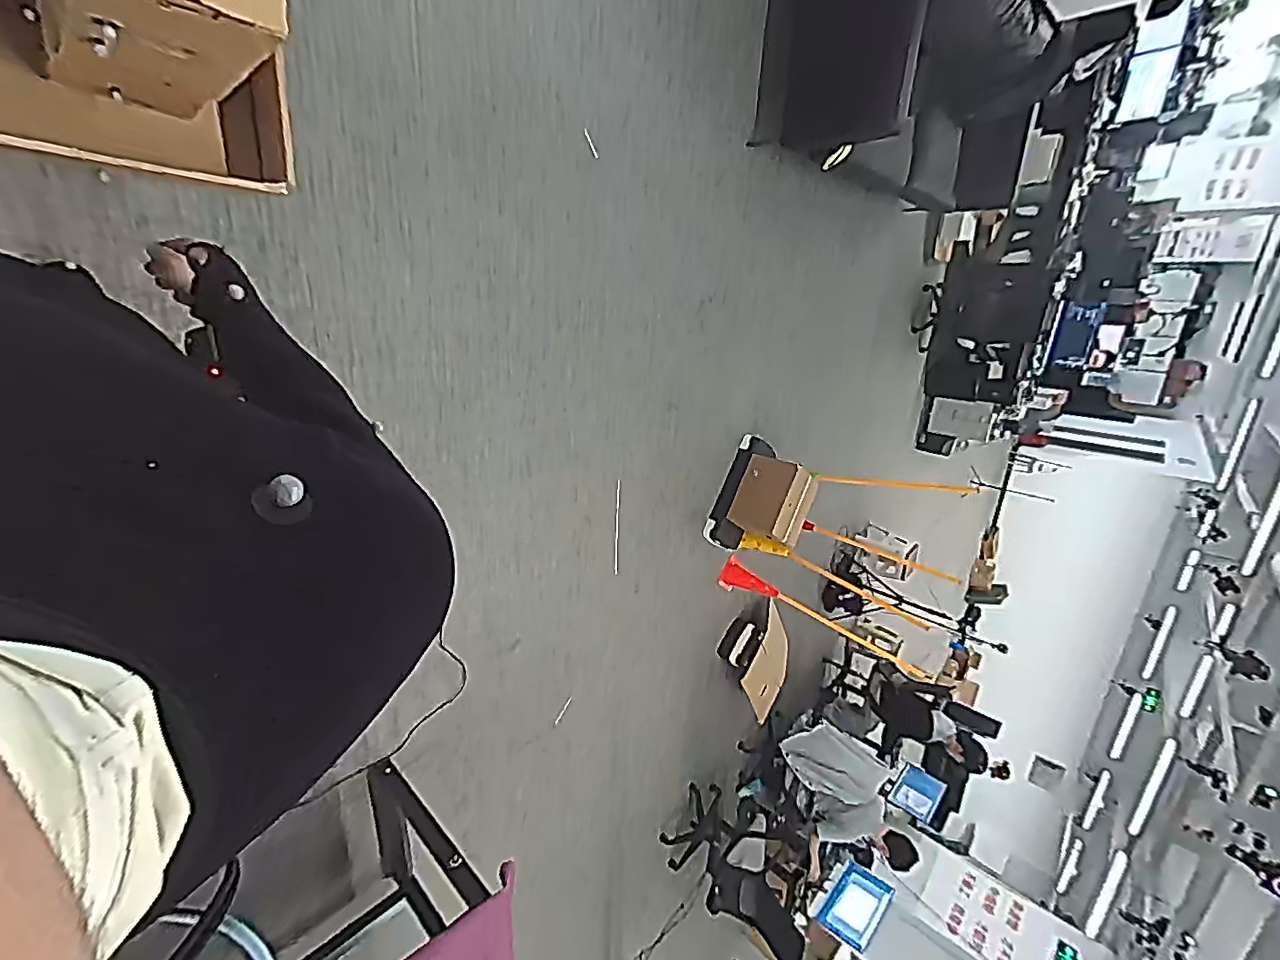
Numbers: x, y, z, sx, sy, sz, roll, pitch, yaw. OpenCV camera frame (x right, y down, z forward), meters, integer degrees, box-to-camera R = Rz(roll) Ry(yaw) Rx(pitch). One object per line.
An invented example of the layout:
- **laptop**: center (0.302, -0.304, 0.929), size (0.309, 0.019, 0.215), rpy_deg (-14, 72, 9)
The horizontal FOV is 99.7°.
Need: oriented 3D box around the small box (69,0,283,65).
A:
- **small box**: center (-0.485, -0.561, 0.544), size (0.168, 0.176, 0.179), rpy_deg (-14, 114, -46)
